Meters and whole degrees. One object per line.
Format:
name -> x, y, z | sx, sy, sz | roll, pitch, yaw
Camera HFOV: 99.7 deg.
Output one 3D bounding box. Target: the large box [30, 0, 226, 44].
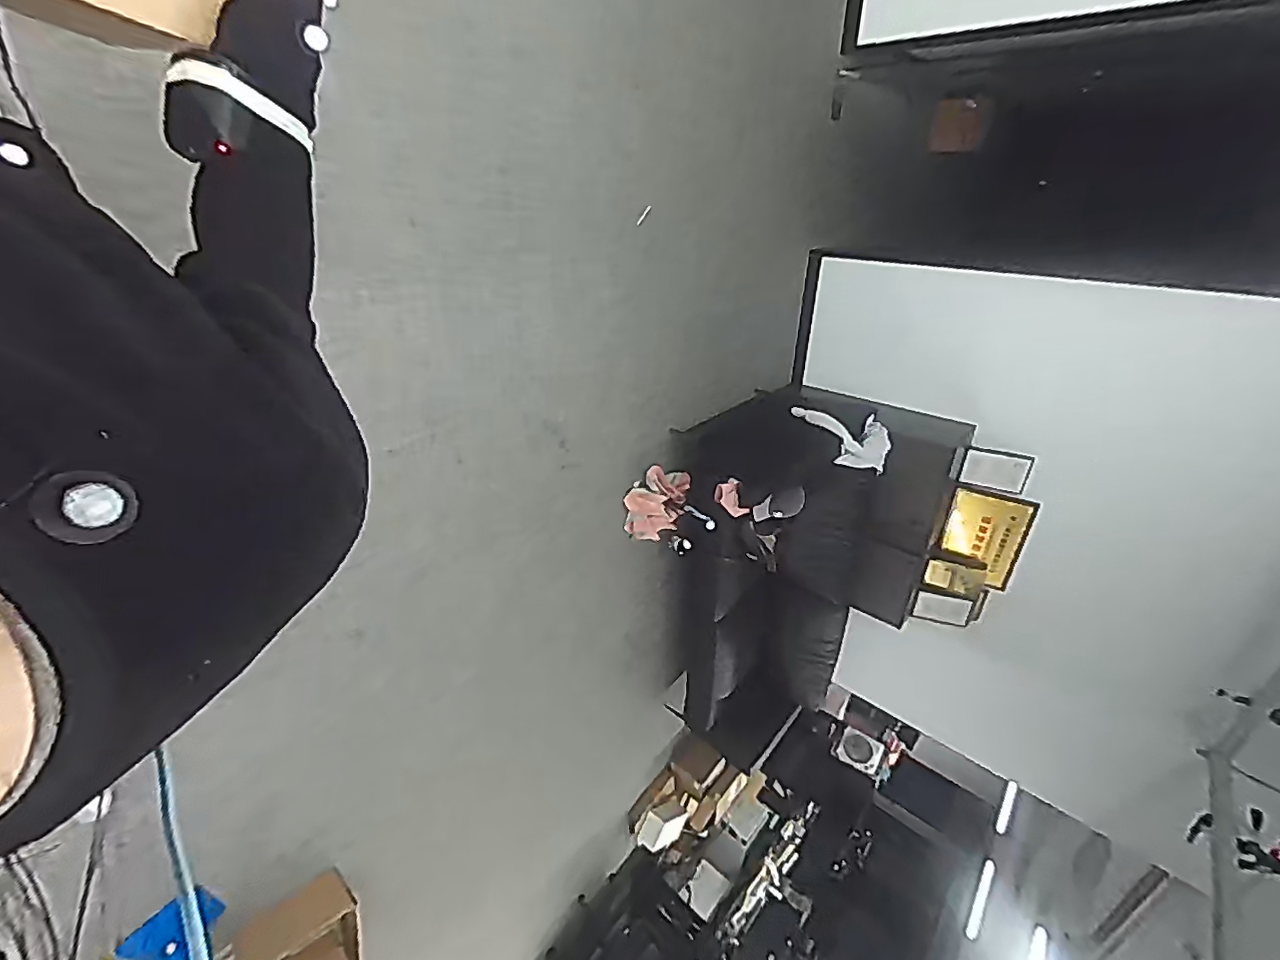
large box -> -0.526, -0.514, 0.295 | 0.408, 0.320, 0.320 | -16, 128, -52
